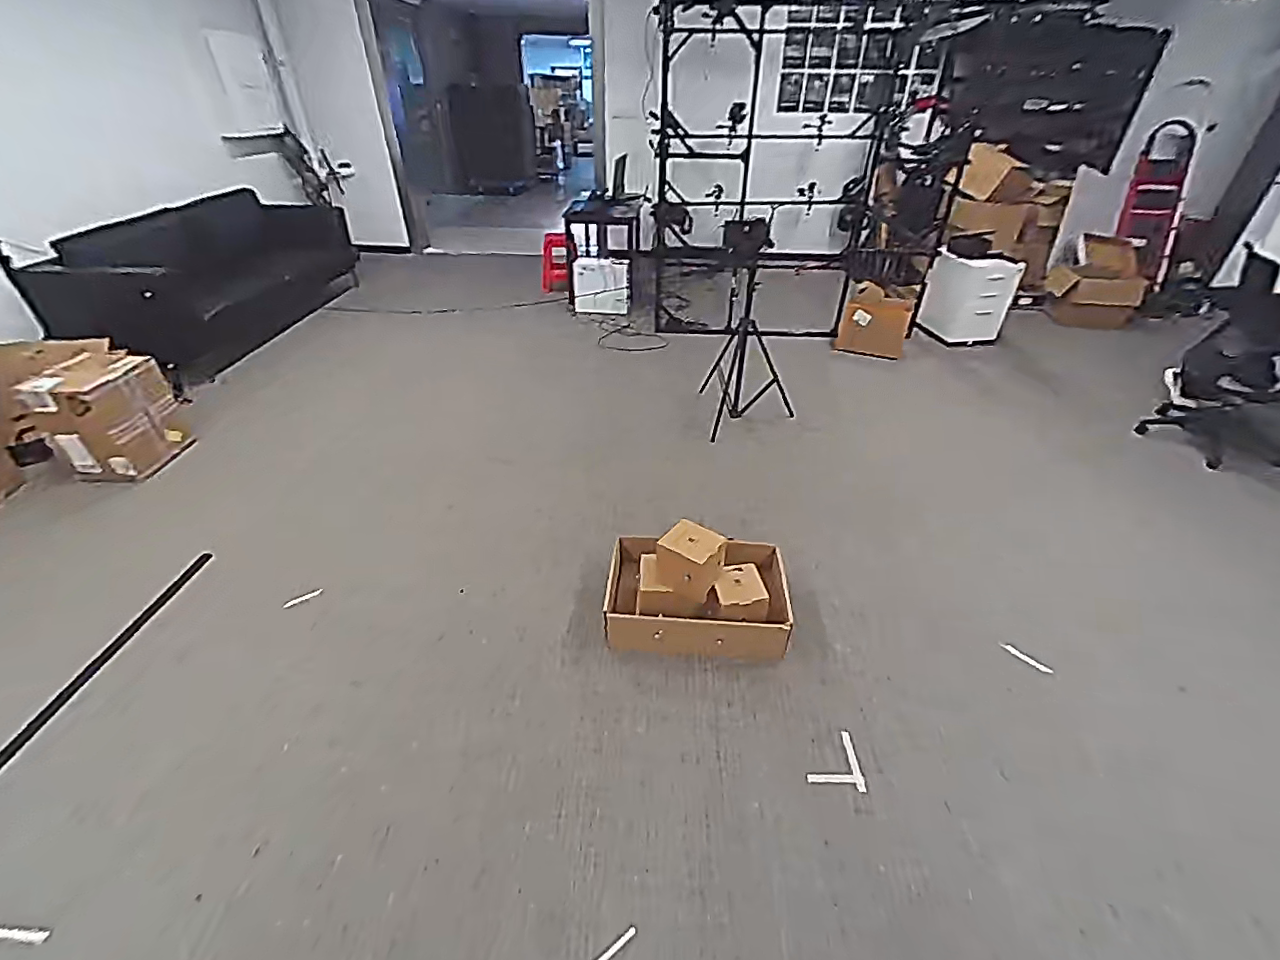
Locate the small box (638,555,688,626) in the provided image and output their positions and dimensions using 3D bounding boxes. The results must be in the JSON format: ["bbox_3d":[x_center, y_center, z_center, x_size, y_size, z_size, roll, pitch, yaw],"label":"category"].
[{"bbox_3d":[0.080,0.390,1.915,0.168,0.176,0.179,2,35,0],"label":"small box"}]

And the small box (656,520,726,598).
[{"bbox_3d":[0.167,0.269,1.808,0.179,0.176,0.168,22,38,29],"label":"small box"}]
